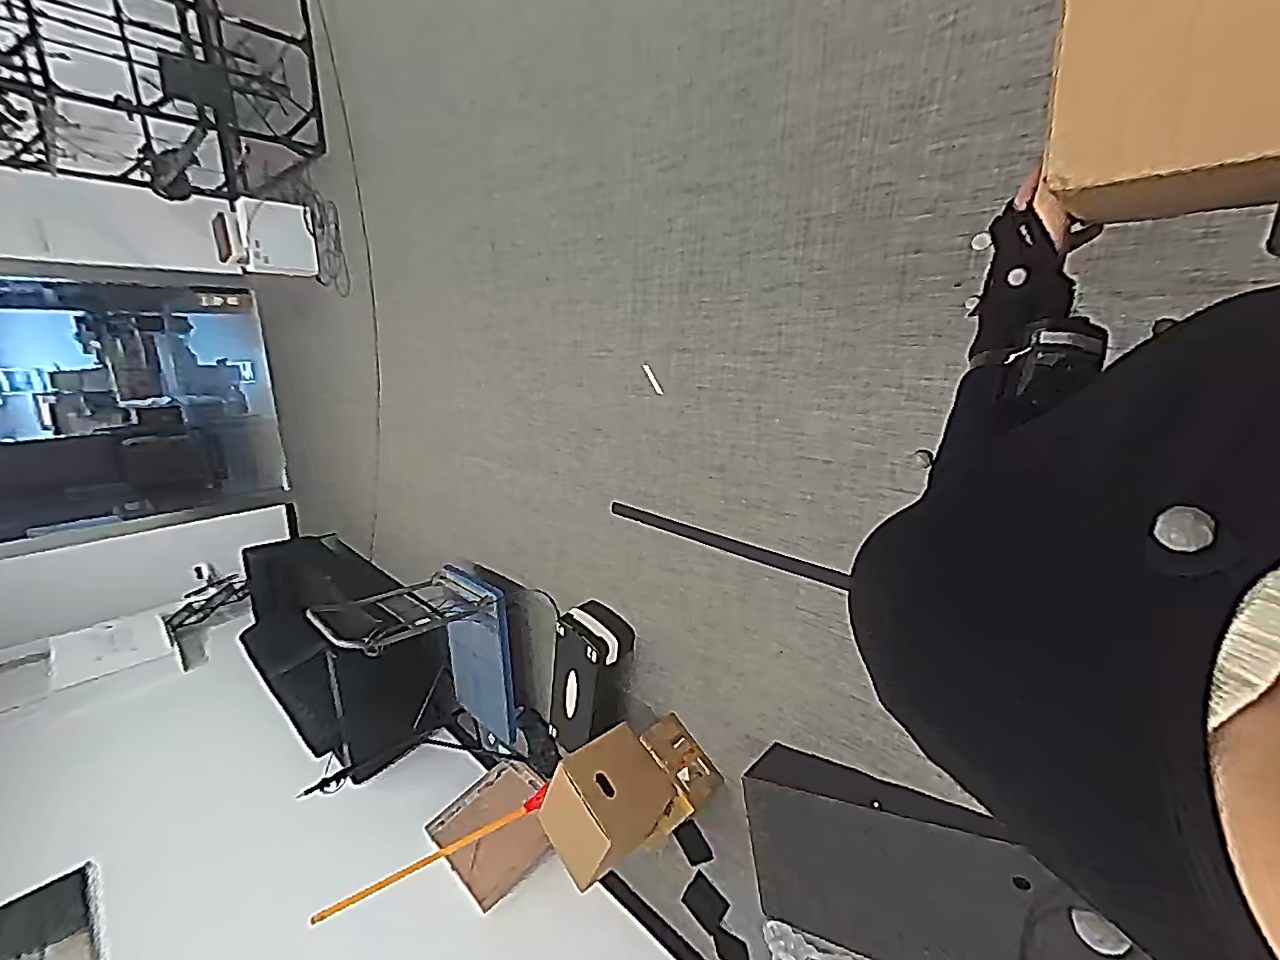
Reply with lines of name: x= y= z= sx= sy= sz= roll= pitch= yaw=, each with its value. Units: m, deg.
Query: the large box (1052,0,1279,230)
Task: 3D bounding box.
large box: x=0.436 y=-0.308 z=0.215 sx=0.408 sy=0.320 sz=0.320 roll=9 pitch=112 yaw=39
